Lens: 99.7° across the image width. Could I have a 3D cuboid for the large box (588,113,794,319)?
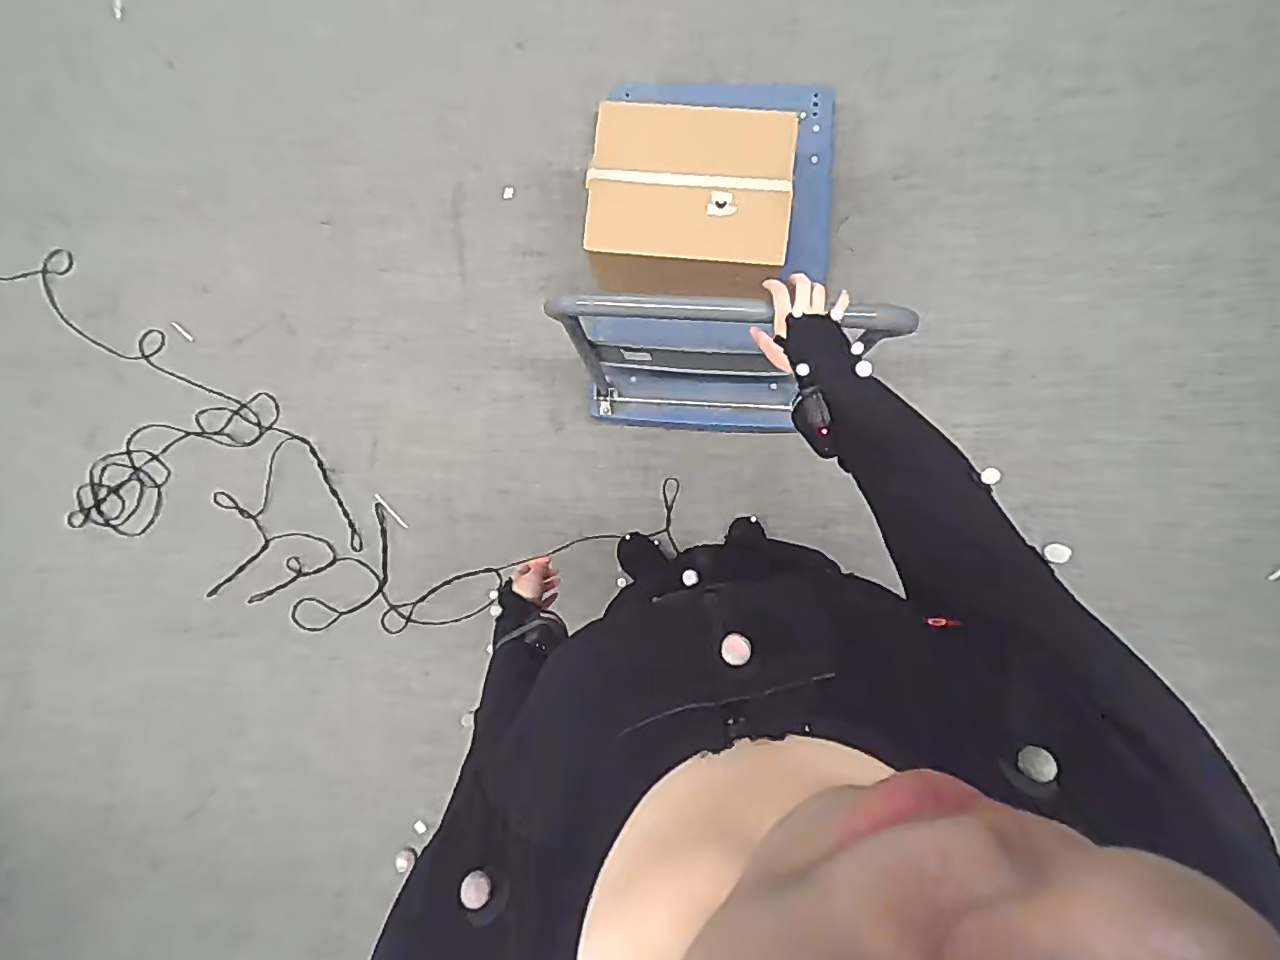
[{"bbox_3d":[0.109,-0.585,1.249,0.408,0.320,0.320,6,87,4],"label":"large box"}]
